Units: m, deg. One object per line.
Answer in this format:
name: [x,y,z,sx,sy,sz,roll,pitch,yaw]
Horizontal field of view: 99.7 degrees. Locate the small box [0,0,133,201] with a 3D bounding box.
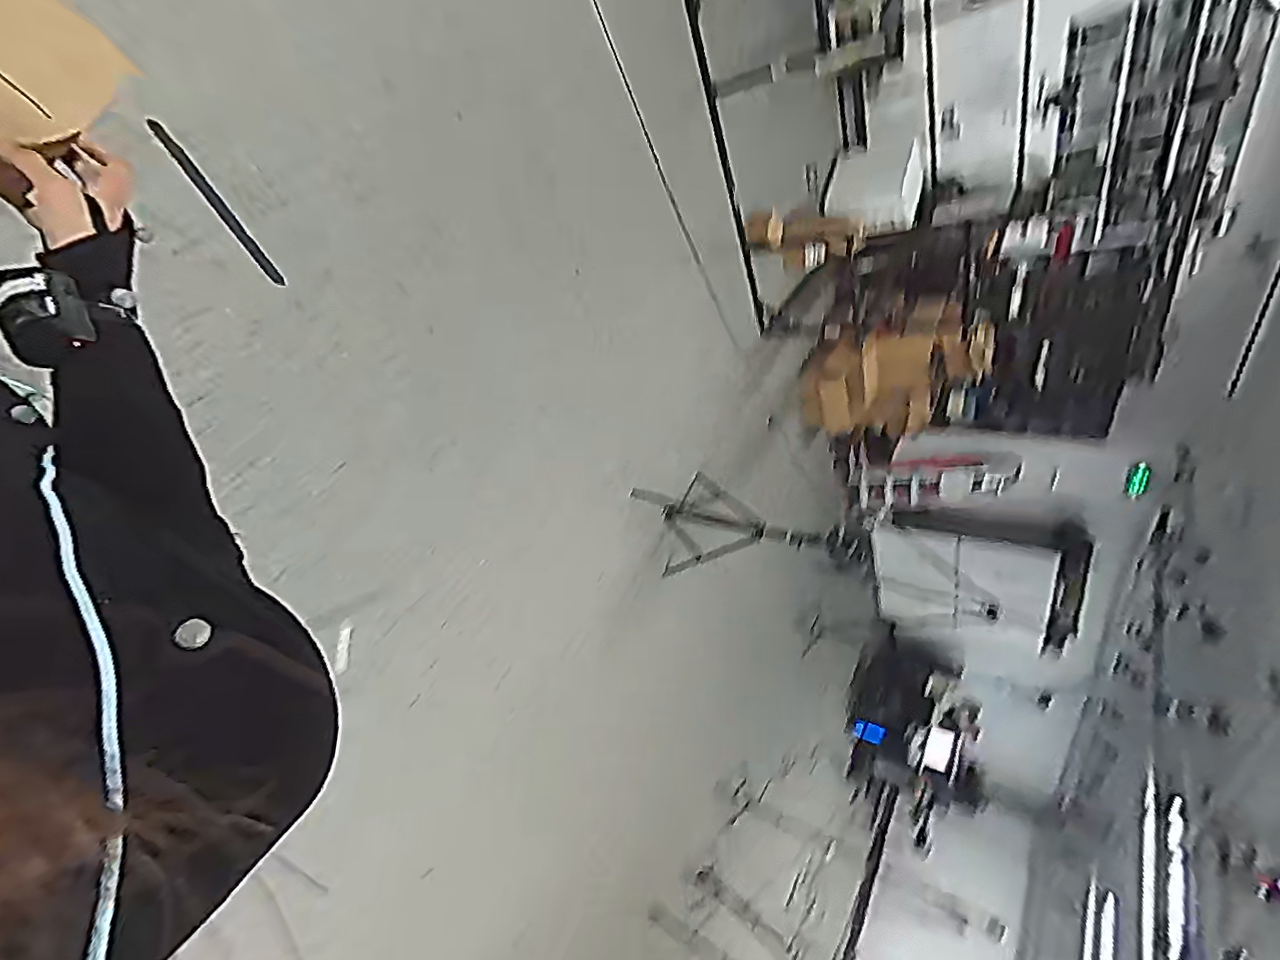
small box: [-0.579,-0.364,0.414,0.168,0.176,0.179,-59,168,-7]
